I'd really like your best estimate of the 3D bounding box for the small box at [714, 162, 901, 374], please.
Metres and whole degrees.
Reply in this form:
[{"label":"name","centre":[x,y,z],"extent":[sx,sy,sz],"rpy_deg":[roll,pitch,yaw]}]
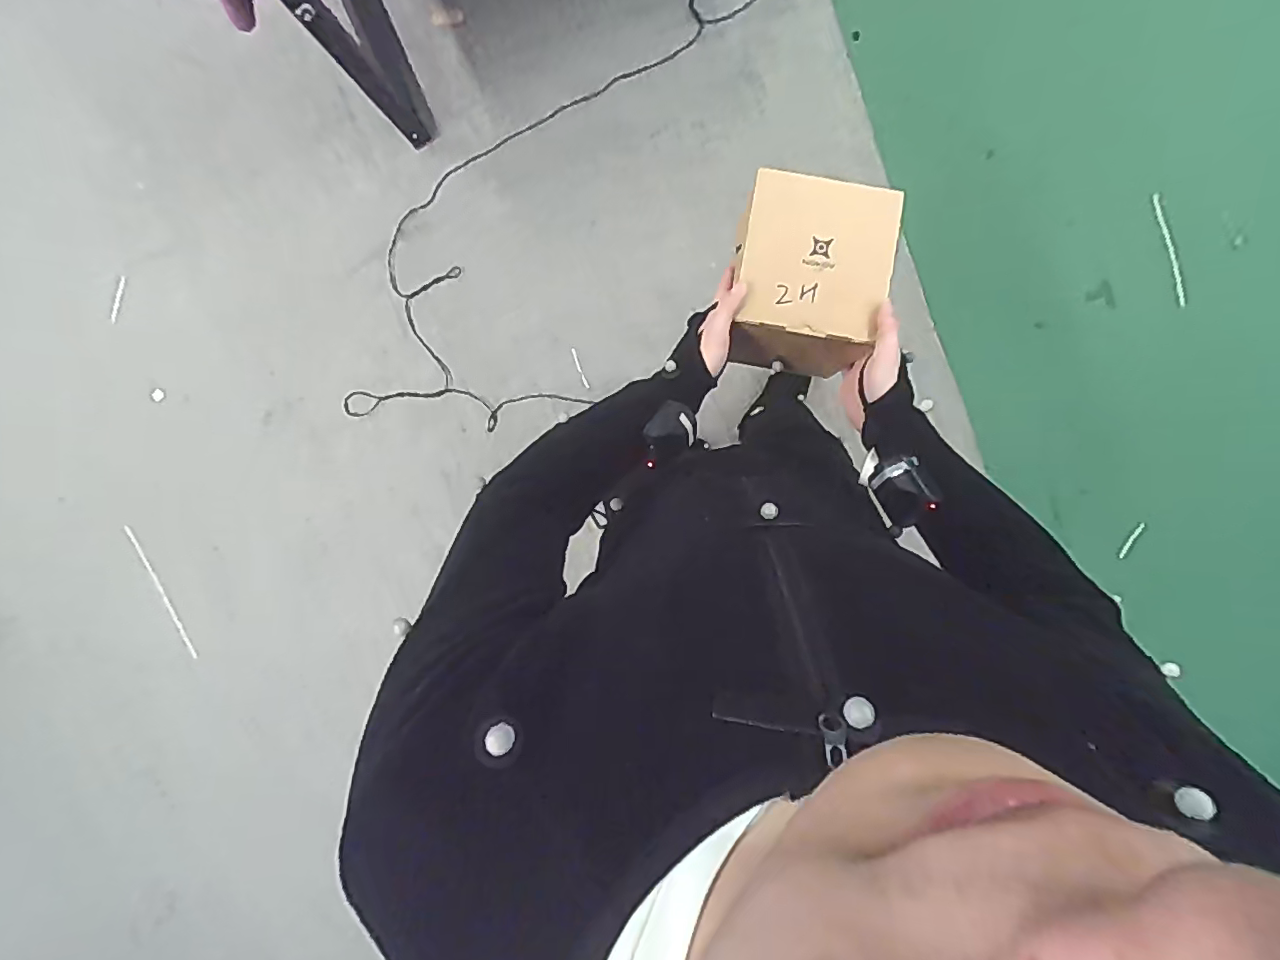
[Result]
[{"label":"small box","centre":[0.191,-0.245,0.664],"extent":[0.168,0.176,0.179],"rpy_deg":[10,88,2]}]
